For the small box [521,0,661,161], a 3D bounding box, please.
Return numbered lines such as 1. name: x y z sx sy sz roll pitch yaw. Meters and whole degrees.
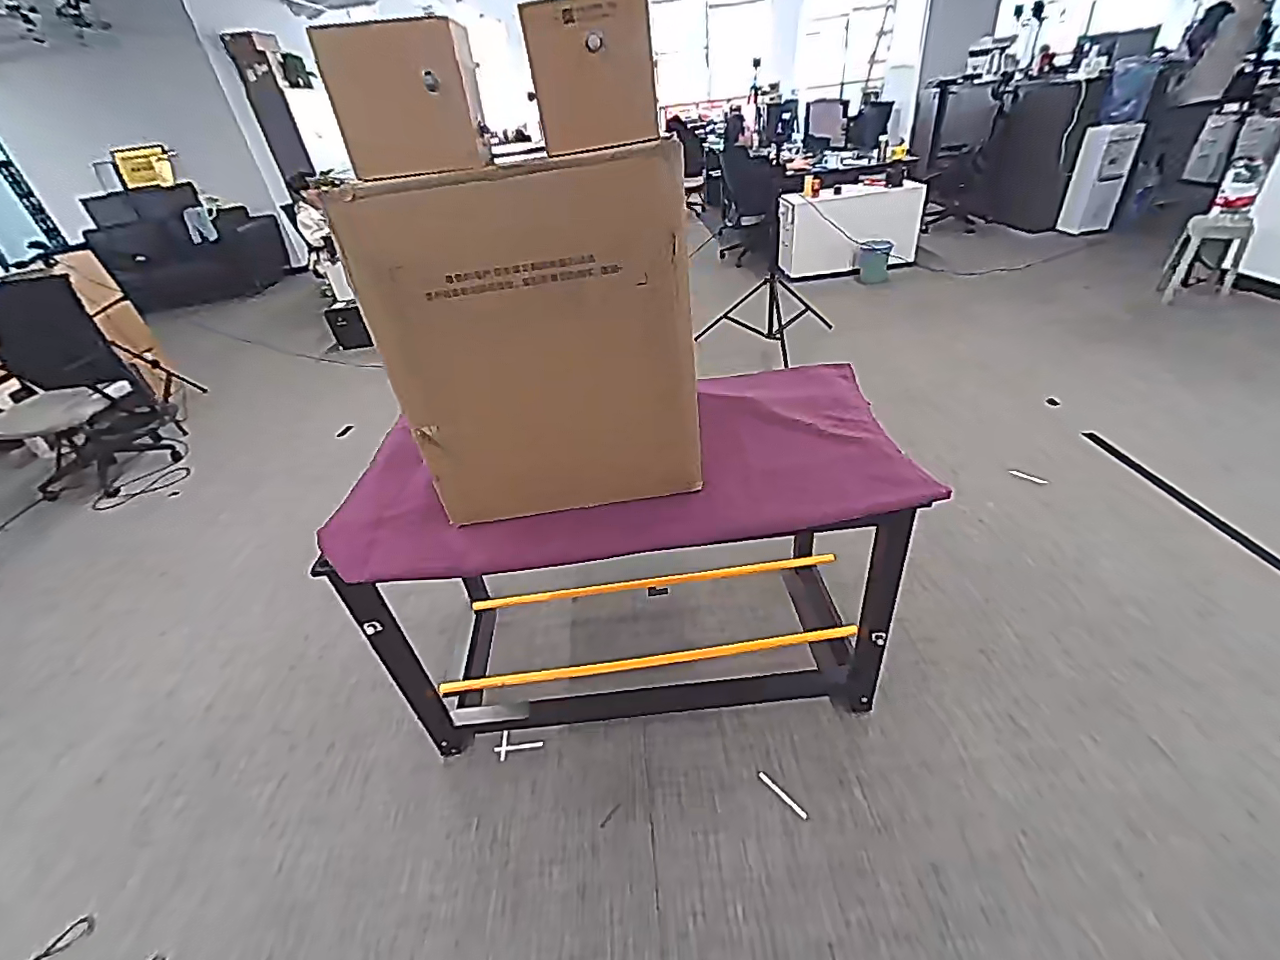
1. small box: -0.069 -0.577 0.783 0.168 0.176 0.179 -10 35 -1
